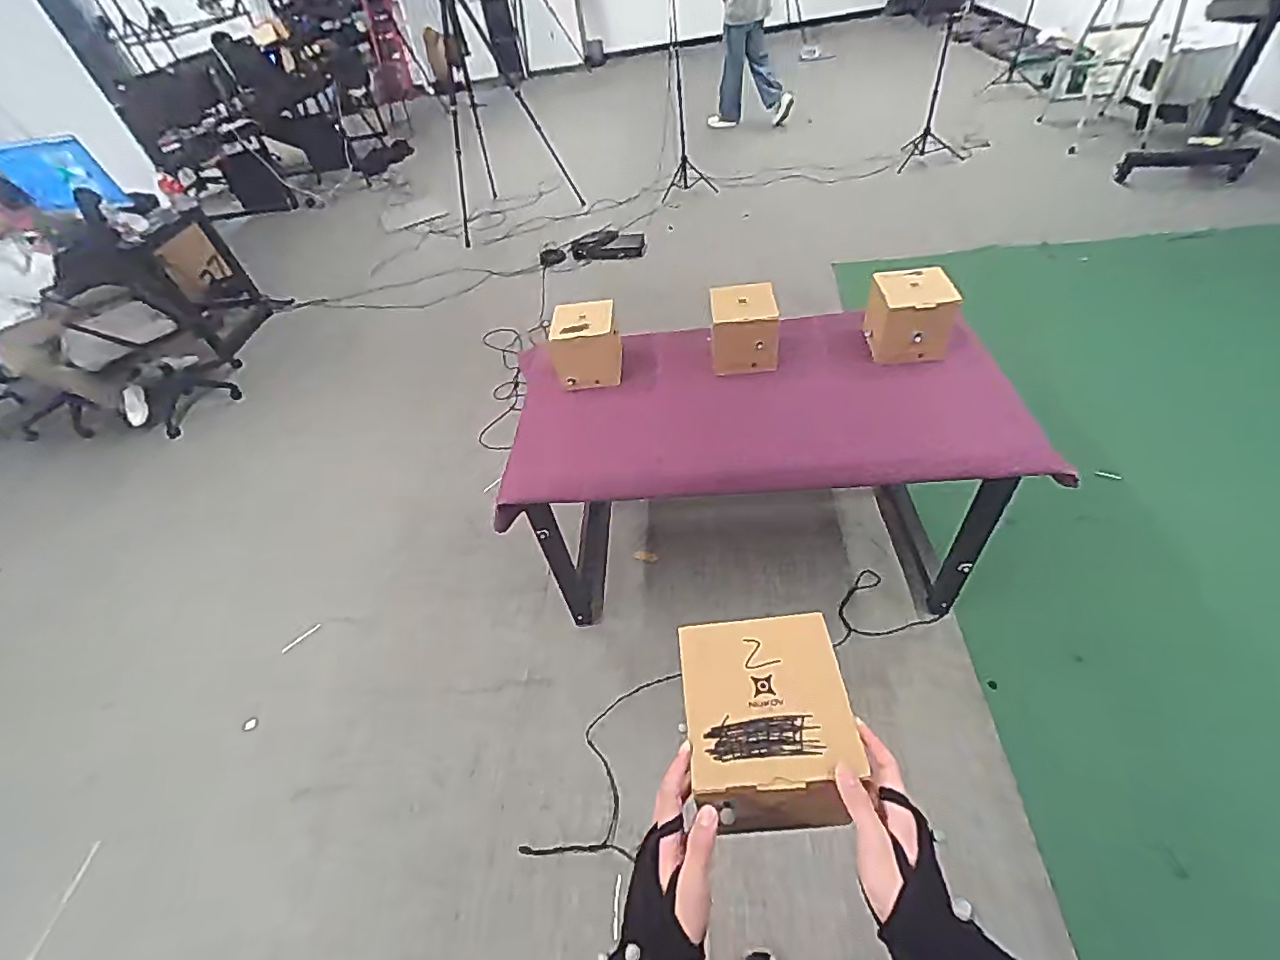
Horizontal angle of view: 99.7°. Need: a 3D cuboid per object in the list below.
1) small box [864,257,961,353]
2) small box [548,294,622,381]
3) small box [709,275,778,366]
[{"bbox_3d":[0.685,-0.439,1.381,0.168,0.176,0.179,-3,49,8],"label":"small box"},{"bbox_3d":[-0.145,-0.387,1.497,0.168,0.176,0.179,-5,47,6],"label":"small box"},{"bbox_3d":[0.275,-0.420,1.448,0.168,0.176,0.179,-4,48,7],"label":"small box"}]
